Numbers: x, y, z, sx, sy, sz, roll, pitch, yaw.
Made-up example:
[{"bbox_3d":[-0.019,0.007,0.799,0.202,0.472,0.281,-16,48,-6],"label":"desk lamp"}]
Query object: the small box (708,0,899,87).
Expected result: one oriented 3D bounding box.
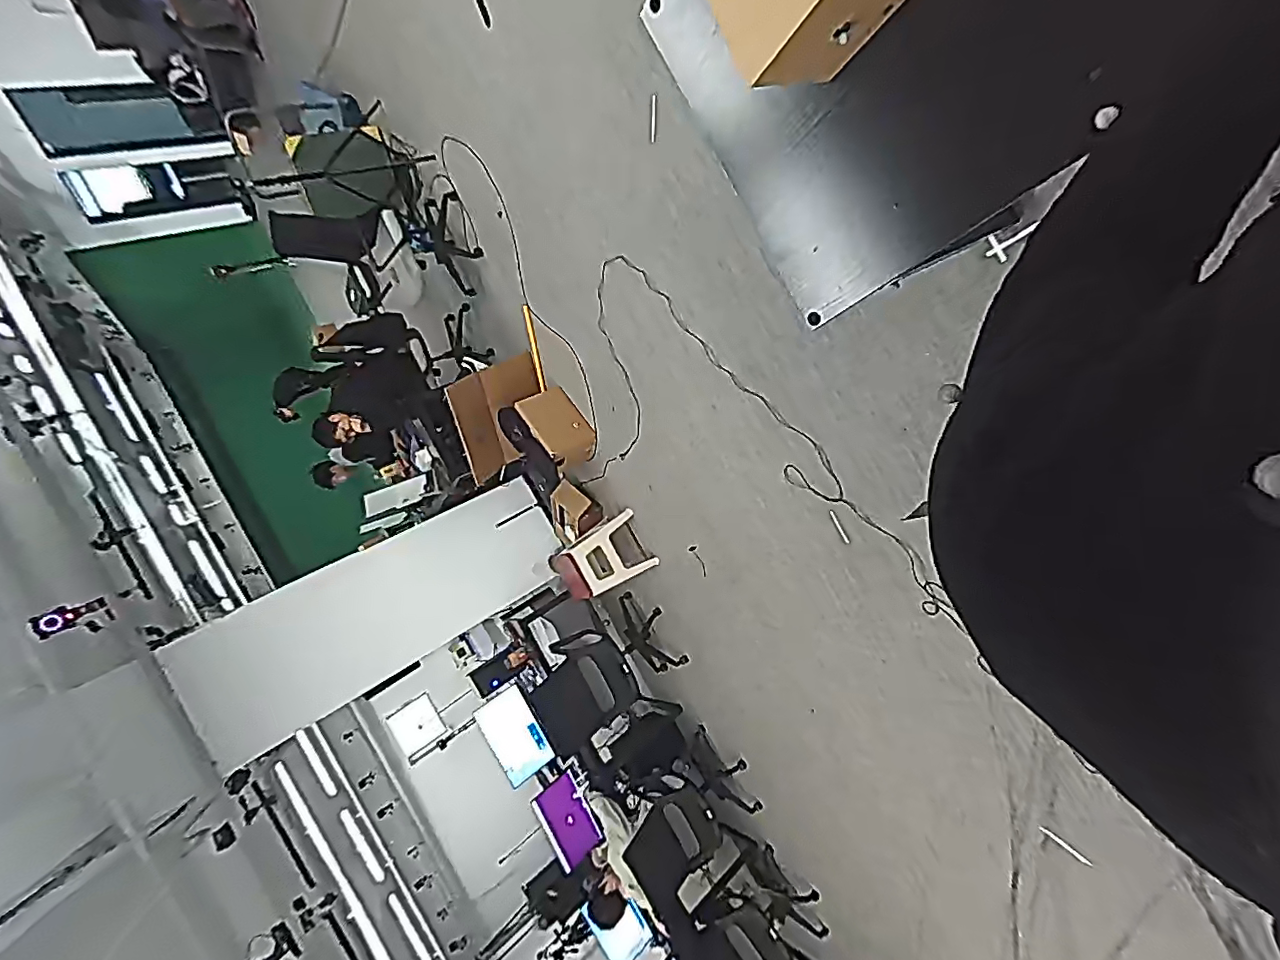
[{"bbox_3d":[0.193,-0.595,0.613,0.168,0.176,0.179,-23,95,59],"label":"small box"}]
